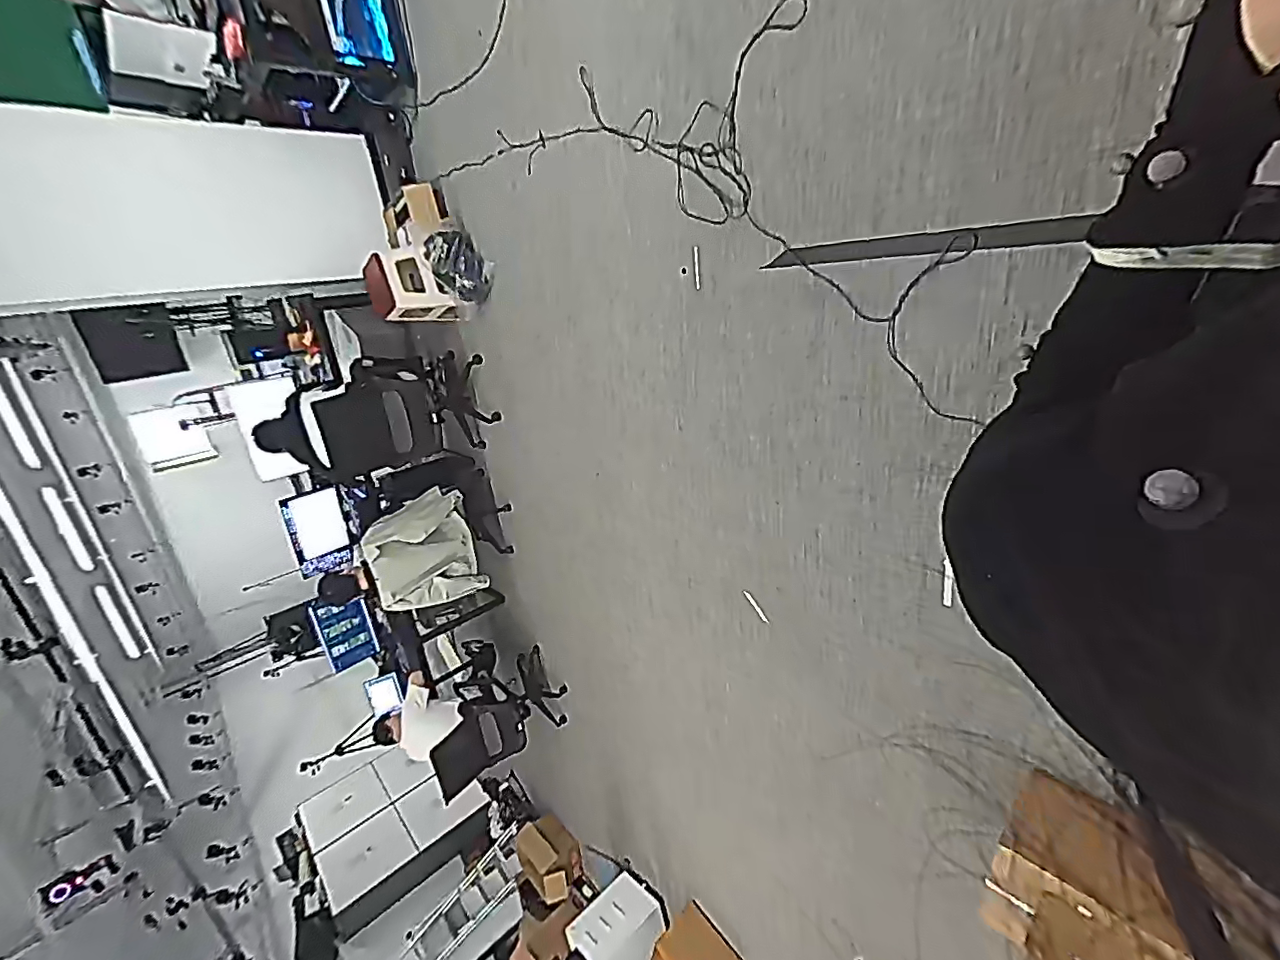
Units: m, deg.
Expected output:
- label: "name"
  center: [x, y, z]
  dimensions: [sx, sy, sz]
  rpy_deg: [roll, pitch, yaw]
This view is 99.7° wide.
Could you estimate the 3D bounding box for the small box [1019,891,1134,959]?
- label: "small box"
  center: [0.991, 1.106, 1.234]
  dimensions: [0.179, 0.176, 0.168]
  rpy_deg: [16, 119, 47]
